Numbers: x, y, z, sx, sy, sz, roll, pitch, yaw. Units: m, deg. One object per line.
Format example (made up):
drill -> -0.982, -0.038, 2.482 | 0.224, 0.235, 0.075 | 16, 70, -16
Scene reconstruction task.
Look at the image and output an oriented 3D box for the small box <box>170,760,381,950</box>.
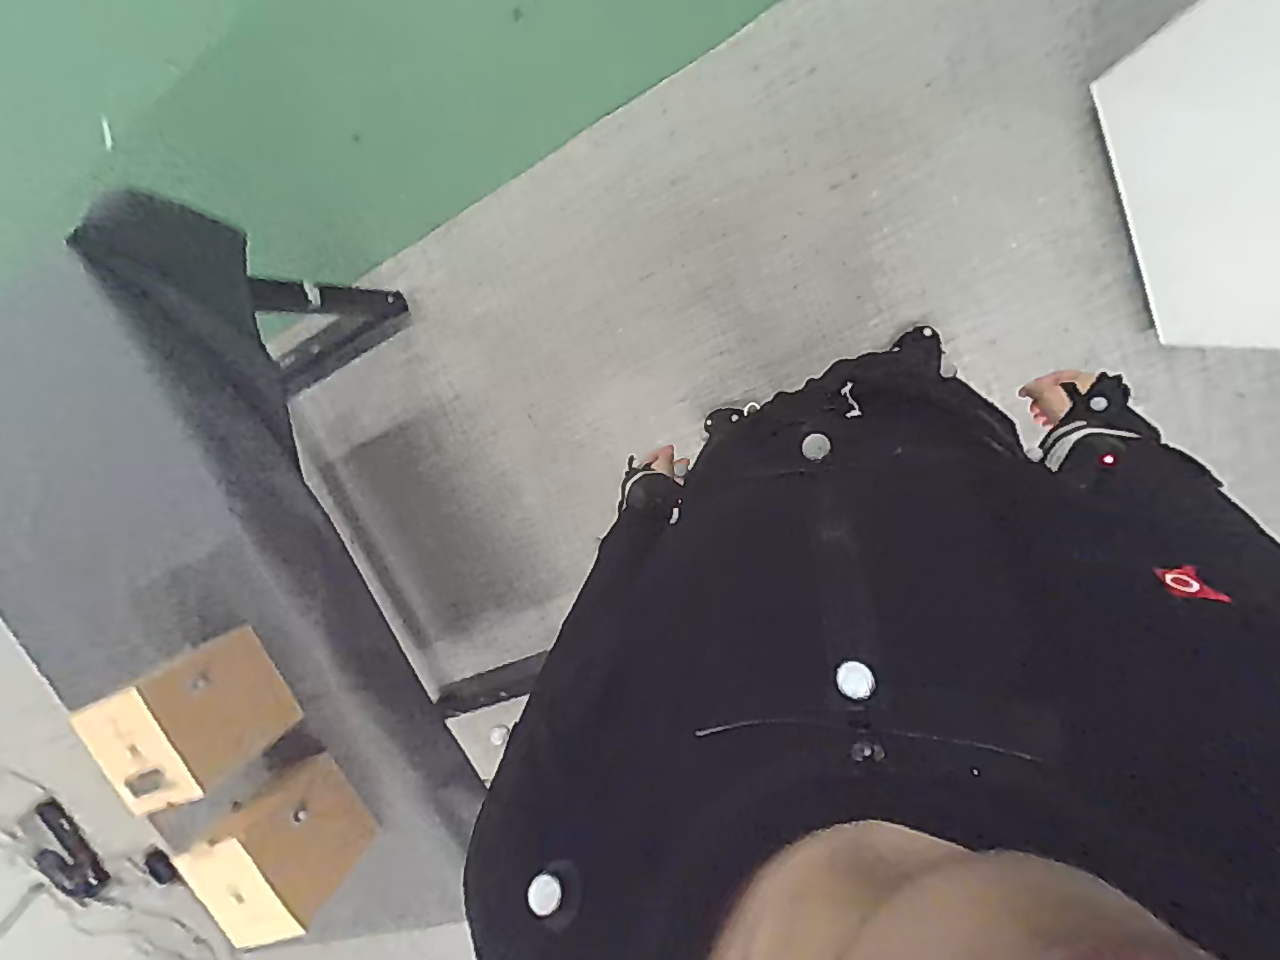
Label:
small box -> -0.554, 0.570, 0.842 | 0.168, 0.176, 0.179 | -27, 98, 20
